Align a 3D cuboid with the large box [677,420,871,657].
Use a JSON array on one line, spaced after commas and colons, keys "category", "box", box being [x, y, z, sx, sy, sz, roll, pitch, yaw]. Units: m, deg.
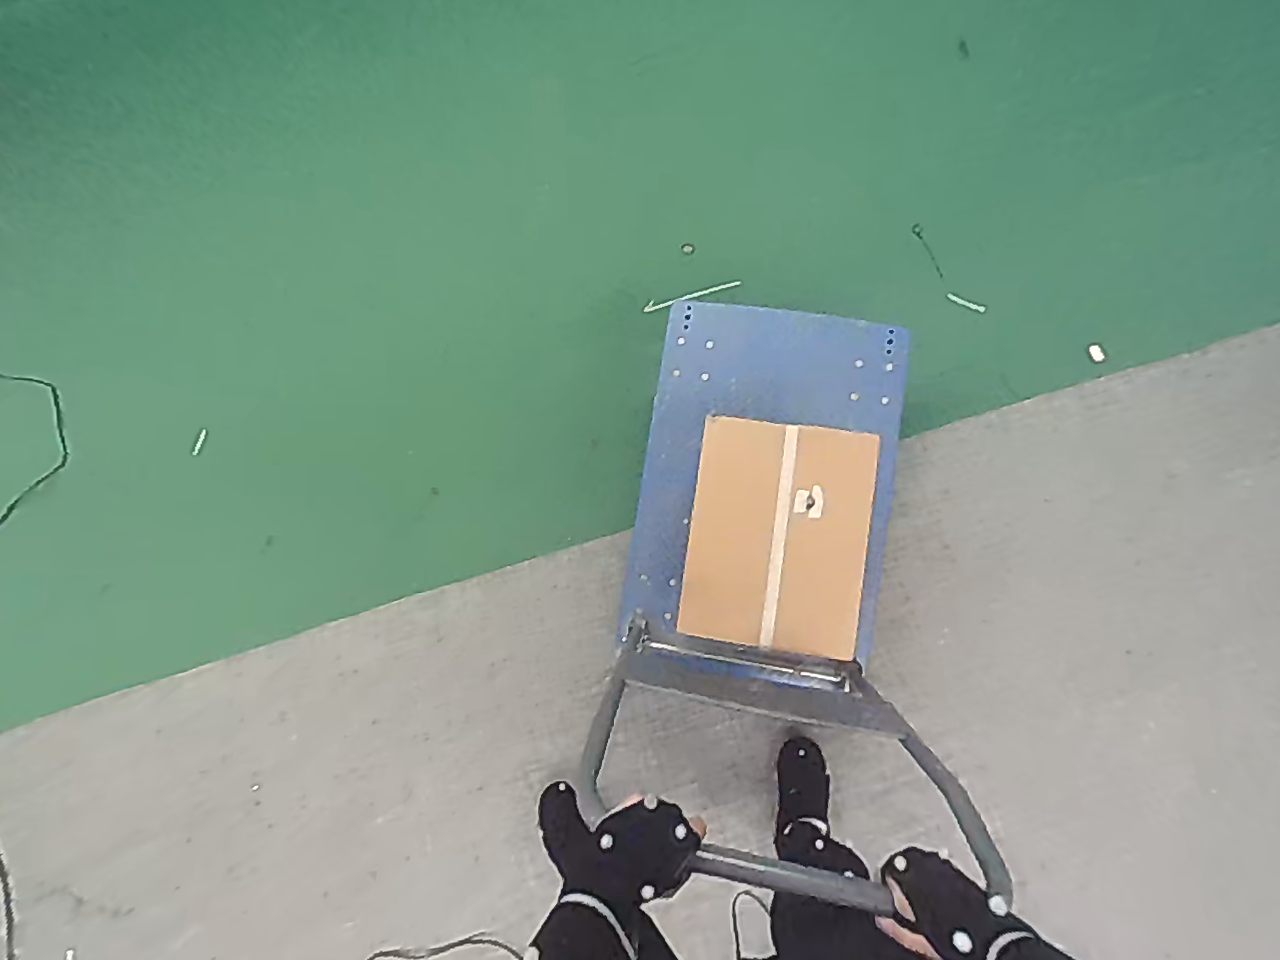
[{"category": "large box", "box": [0.258, 0.113, 1.125, 0.320, 0.320, 0.408, 8, 87, 6]}]
